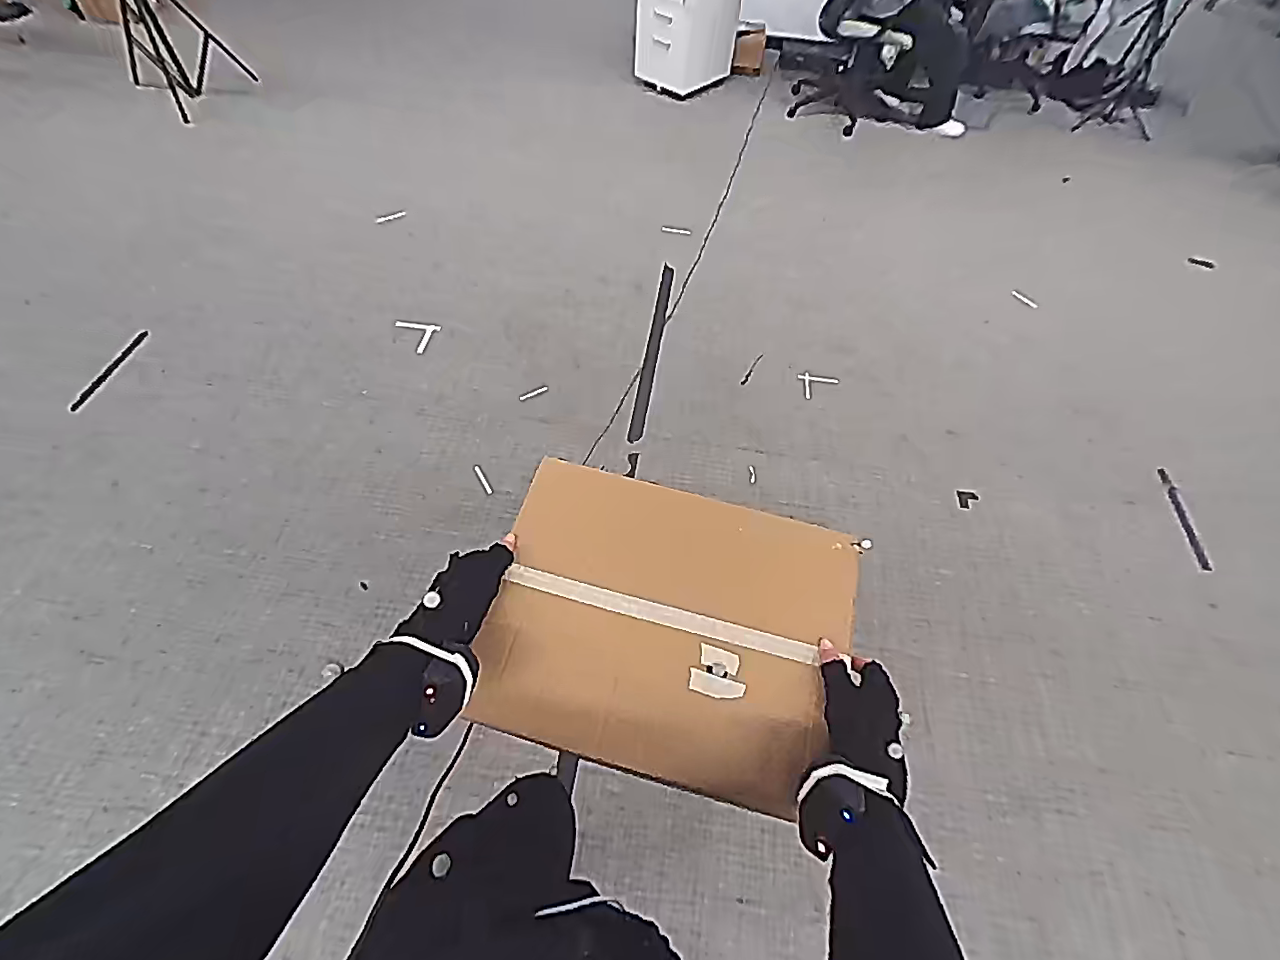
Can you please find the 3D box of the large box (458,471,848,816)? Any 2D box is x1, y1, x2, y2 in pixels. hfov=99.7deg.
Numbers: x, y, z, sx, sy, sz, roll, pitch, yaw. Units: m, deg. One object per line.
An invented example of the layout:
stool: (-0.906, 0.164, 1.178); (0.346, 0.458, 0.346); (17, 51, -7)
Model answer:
large box: (0.025, 0.231, 0.754); (0.408, 0.320, 0.320); (15, 63, 5)
